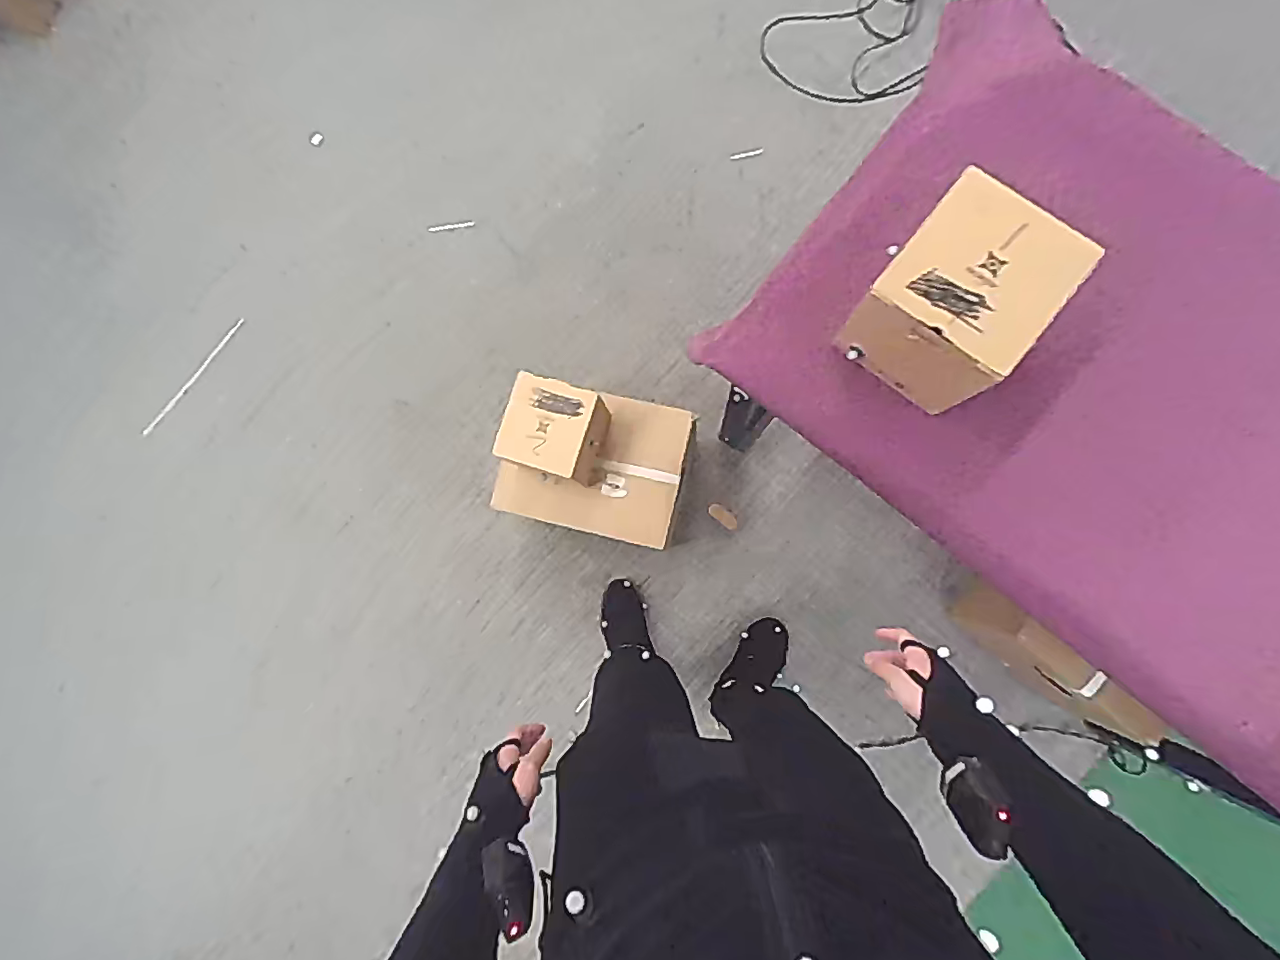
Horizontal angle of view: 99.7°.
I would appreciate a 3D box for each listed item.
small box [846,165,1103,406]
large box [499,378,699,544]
[{"bbox_3d":[0.372,-0.214,0.646,0.168,0.176,0.179,39,88,8],"label":"small box"},{"bbox_3d":[-0.082,-0.032,1.346,0.408,0.320,0.320,13,86,6],"label":"large box"}]
